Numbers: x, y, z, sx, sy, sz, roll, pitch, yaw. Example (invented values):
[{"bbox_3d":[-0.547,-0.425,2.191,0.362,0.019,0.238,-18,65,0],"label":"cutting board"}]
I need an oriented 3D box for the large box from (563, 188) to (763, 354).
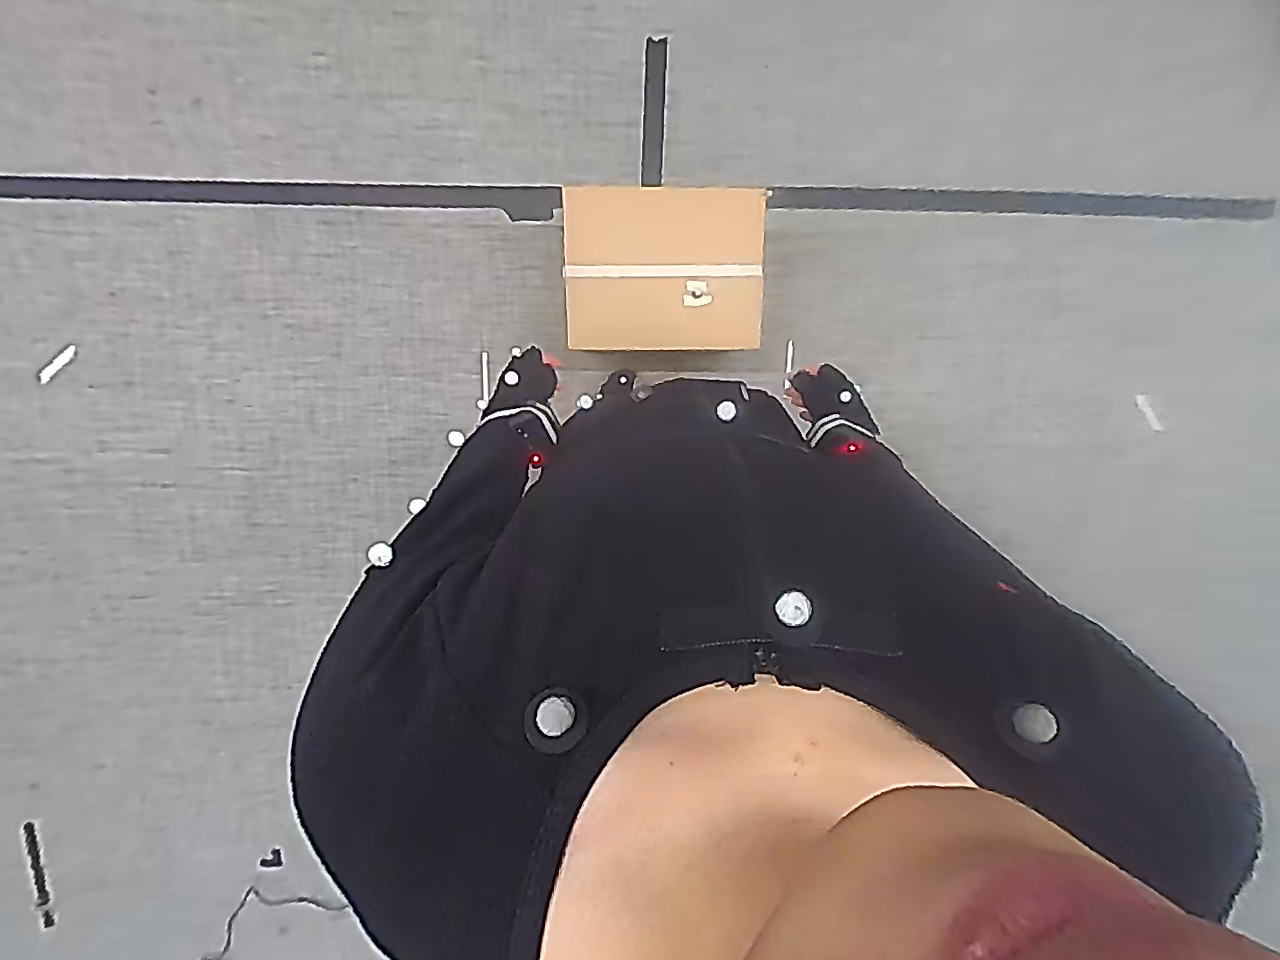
[{"bbox_3d":[0.040,-0.456,1.244,0.408,0.320,0.320,-1,103,-3],"label":"large box"}]
